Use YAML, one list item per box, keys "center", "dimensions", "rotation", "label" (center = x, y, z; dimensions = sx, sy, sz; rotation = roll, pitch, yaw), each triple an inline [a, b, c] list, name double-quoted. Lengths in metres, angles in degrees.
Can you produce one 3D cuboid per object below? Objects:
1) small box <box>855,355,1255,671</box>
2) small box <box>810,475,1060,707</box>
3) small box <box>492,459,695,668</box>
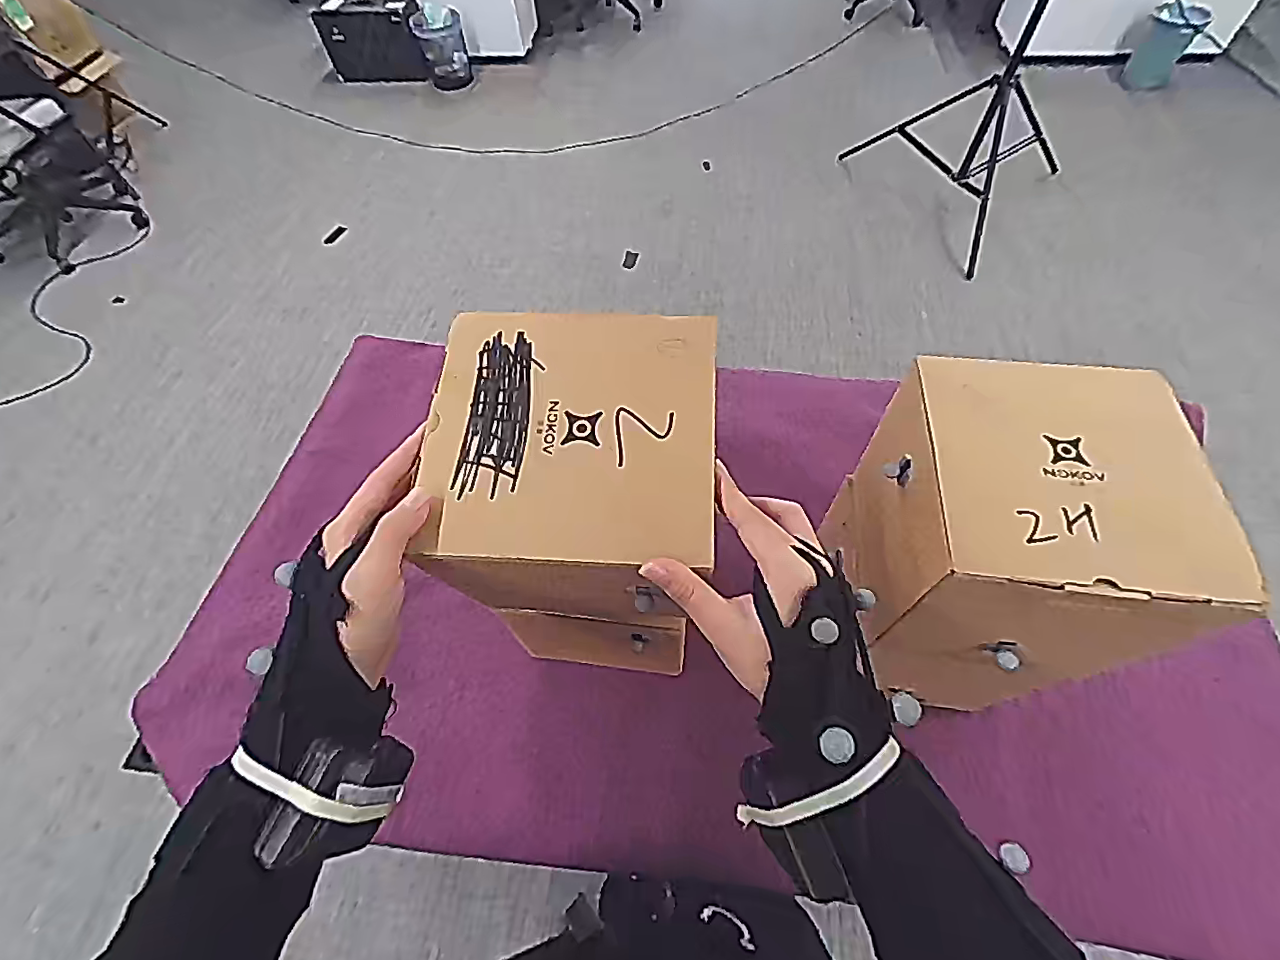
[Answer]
- center: [0.274, 0.030, 0.418]
  dimensions: [0.168, 0.176, 0.179]
  rotation: [5, 58, 7]
  label: "small box"
- center: [0.276, 0.118, 0.558]
  dimensions: [0.168, 0.176, 0.179]
  rotation: [6, 59, 7]
  label: "small box"
- center: [-0.036, 0.096, 0.588]
  dimensions: [0.179, 0.176, 0.168]
  rotation: [5, 58, 5]
  label: "small box"
